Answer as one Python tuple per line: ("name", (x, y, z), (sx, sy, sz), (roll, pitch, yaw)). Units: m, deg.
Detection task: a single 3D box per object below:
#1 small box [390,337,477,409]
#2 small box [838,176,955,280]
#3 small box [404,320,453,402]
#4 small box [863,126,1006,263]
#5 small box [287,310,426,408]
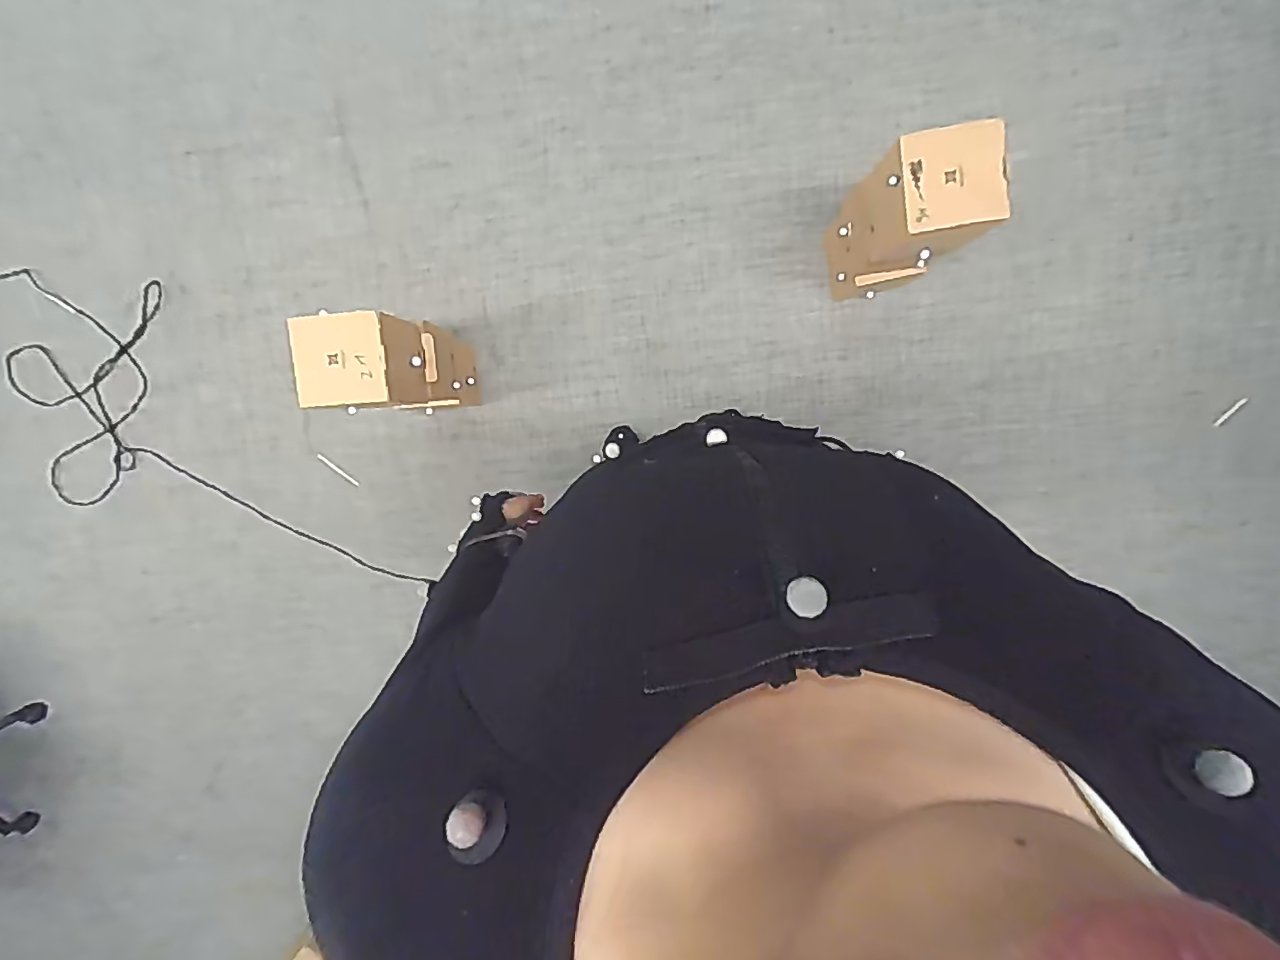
("small box", (-0.529, -0.270, 1.389), (0.179, 0.176, 0.168), (-4, 96, 3))
("small box", (0.549, -0.546, 1.168), (0.179, 0.176, 0.168), (-7, 96, 4))
("small box", (-0.536, -0.263, 1.225), (0.179, 0.176, 0.168), (-3, 96, 4))
("small box", (0.539, -0.520, 1.006), (0.179, 0.176, 0.168), (-8, 96, 2))
("small box", (-0.547, -0.230, 1.063), (0.179, 0.176, 0.168), (-4, 97, 3))
